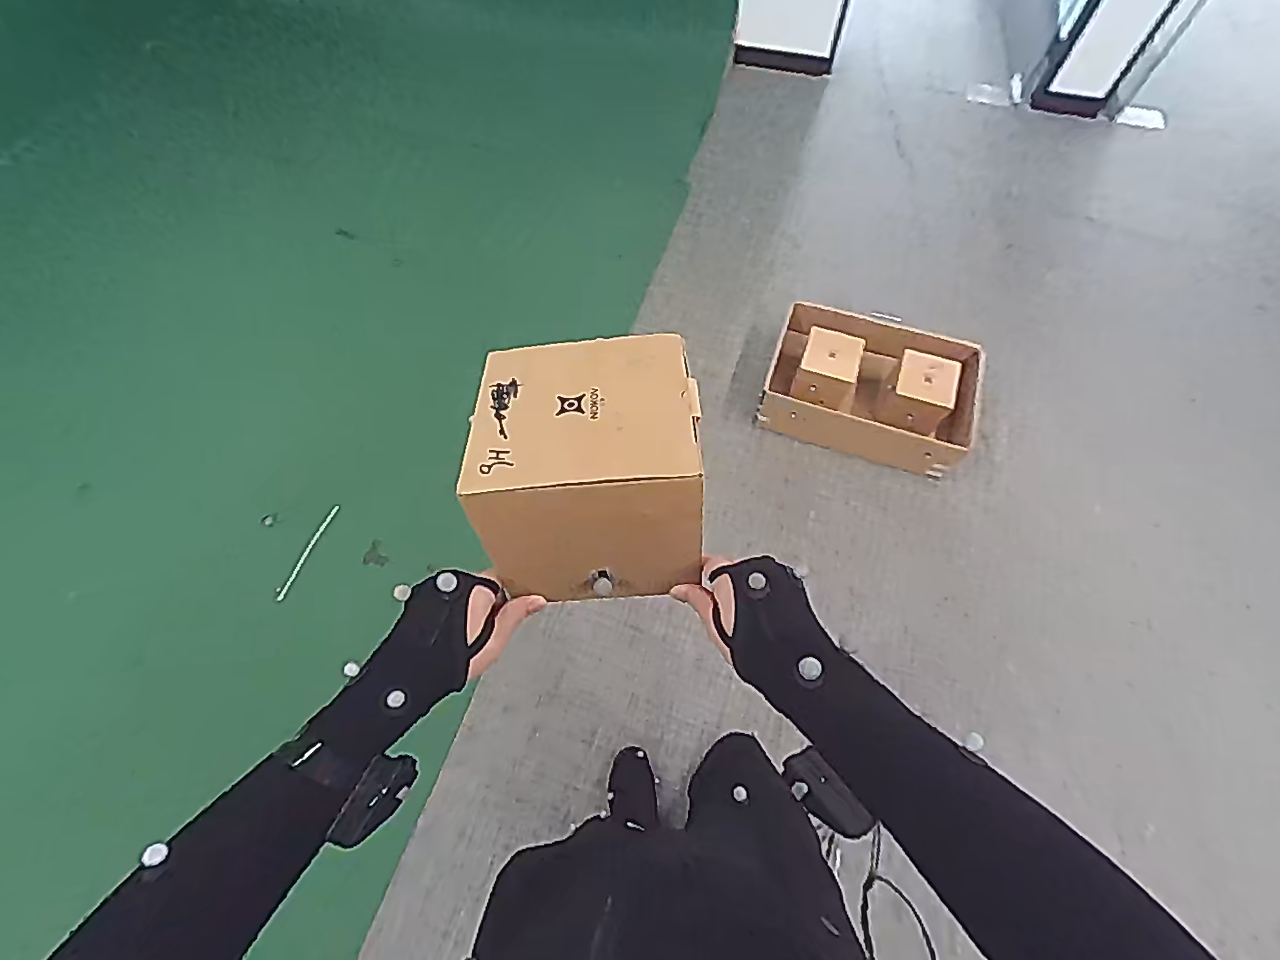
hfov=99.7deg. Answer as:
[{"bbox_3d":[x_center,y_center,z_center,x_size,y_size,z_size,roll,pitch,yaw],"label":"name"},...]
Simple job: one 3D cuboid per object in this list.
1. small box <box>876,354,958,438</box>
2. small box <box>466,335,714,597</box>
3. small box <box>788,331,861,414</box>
[{"bbox_3d":[0.855,-0.256,1.684,0.168,0.176,0.179,19,66,10],"label":"small box"},{"bbox_3d":[-0.033,-0.008,0.486,0.179,0.176,0.168,-4,48,1],"label":"small box"},{"bbox_3d":[0.585,-0.338,1.732,0.168,0.176,0.179,18,65,9],"label":"small box"}]
